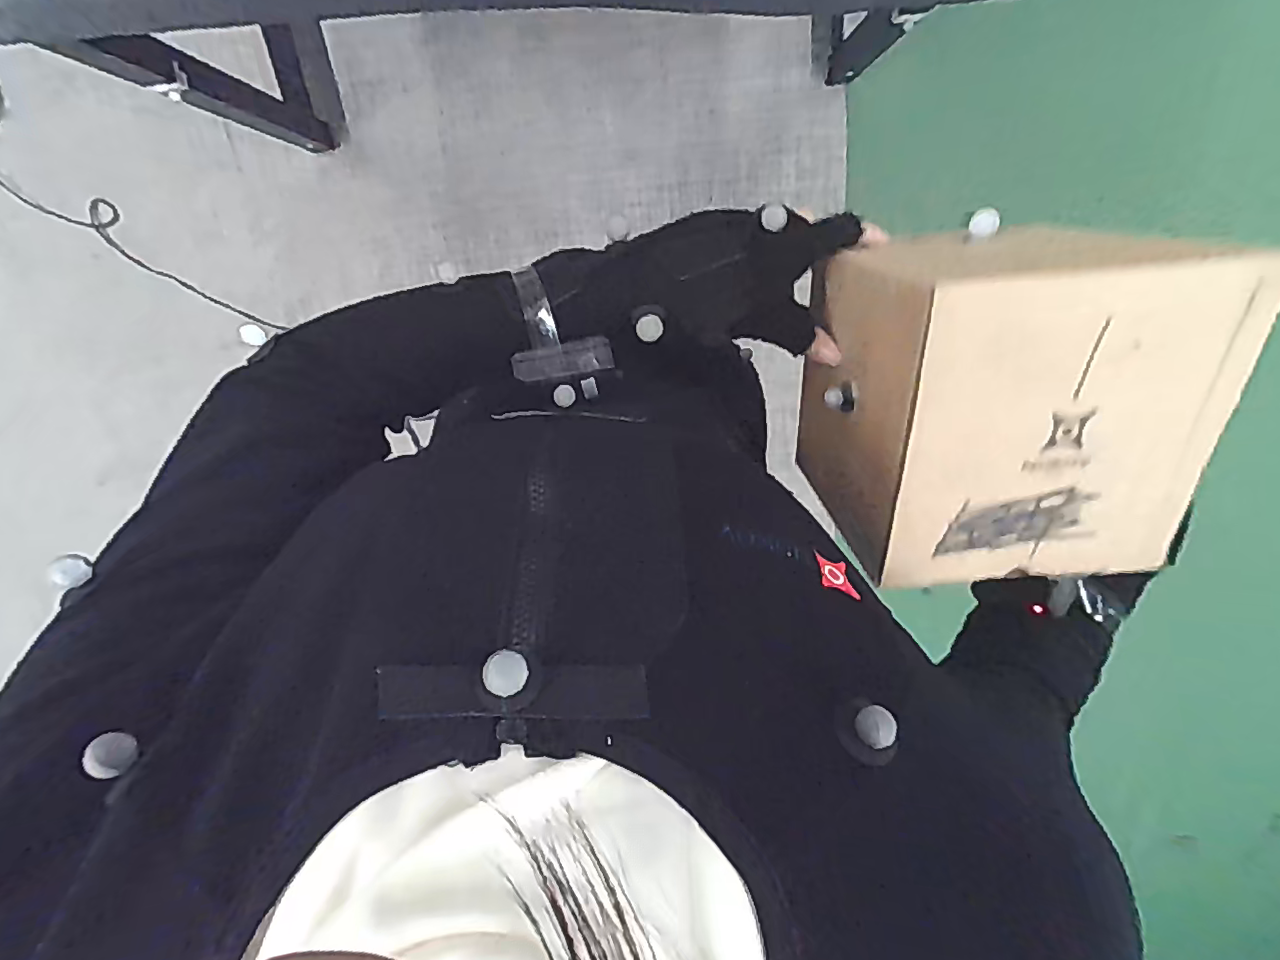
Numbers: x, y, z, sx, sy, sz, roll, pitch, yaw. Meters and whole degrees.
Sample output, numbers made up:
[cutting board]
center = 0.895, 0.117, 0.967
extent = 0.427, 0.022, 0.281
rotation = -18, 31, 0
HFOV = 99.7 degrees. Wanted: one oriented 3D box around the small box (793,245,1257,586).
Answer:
[small box]
center = 0.210, -0.052, 0.364
extent = 0.168, 0.176, 0.179
rotation = -3, 119, -1
